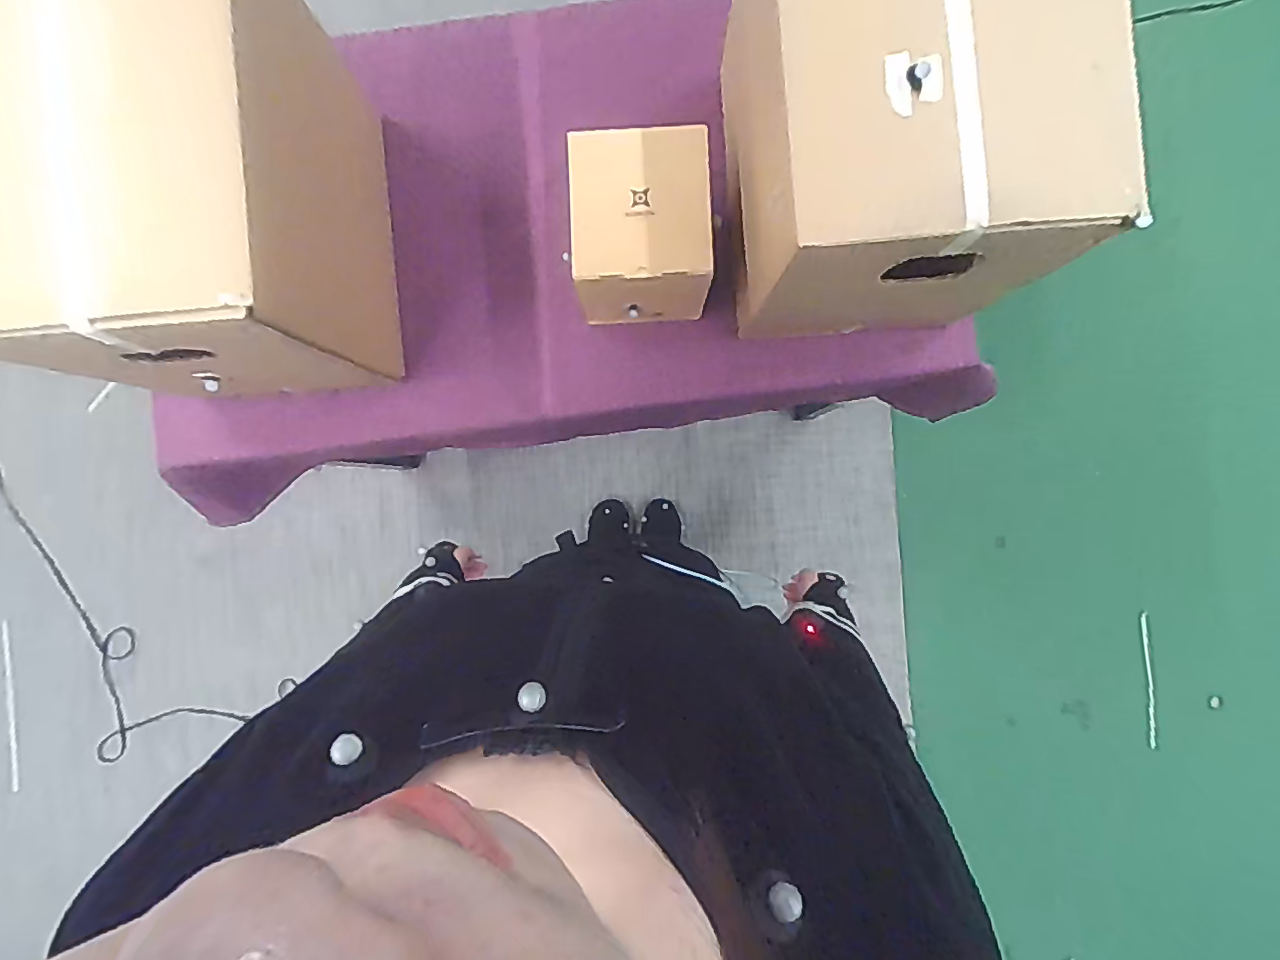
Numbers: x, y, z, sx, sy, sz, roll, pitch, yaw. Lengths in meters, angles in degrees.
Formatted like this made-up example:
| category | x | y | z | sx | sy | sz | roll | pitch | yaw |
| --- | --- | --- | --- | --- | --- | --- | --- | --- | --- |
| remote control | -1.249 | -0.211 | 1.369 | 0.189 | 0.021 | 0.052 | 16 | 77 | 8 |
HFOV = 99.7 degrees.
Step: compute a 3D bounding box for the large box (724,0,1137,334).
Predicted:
| category | x | y | z | sx | sy | sz | roll | pitch | yaw |
| --- | --- | --- | --- | --- | --- | --- | --- | --- | --- |
| large box | 0.290 | -0.420 | 0.645 | 0.320 | 0.320 | 0.408 | -4 | 90 | 0 |
